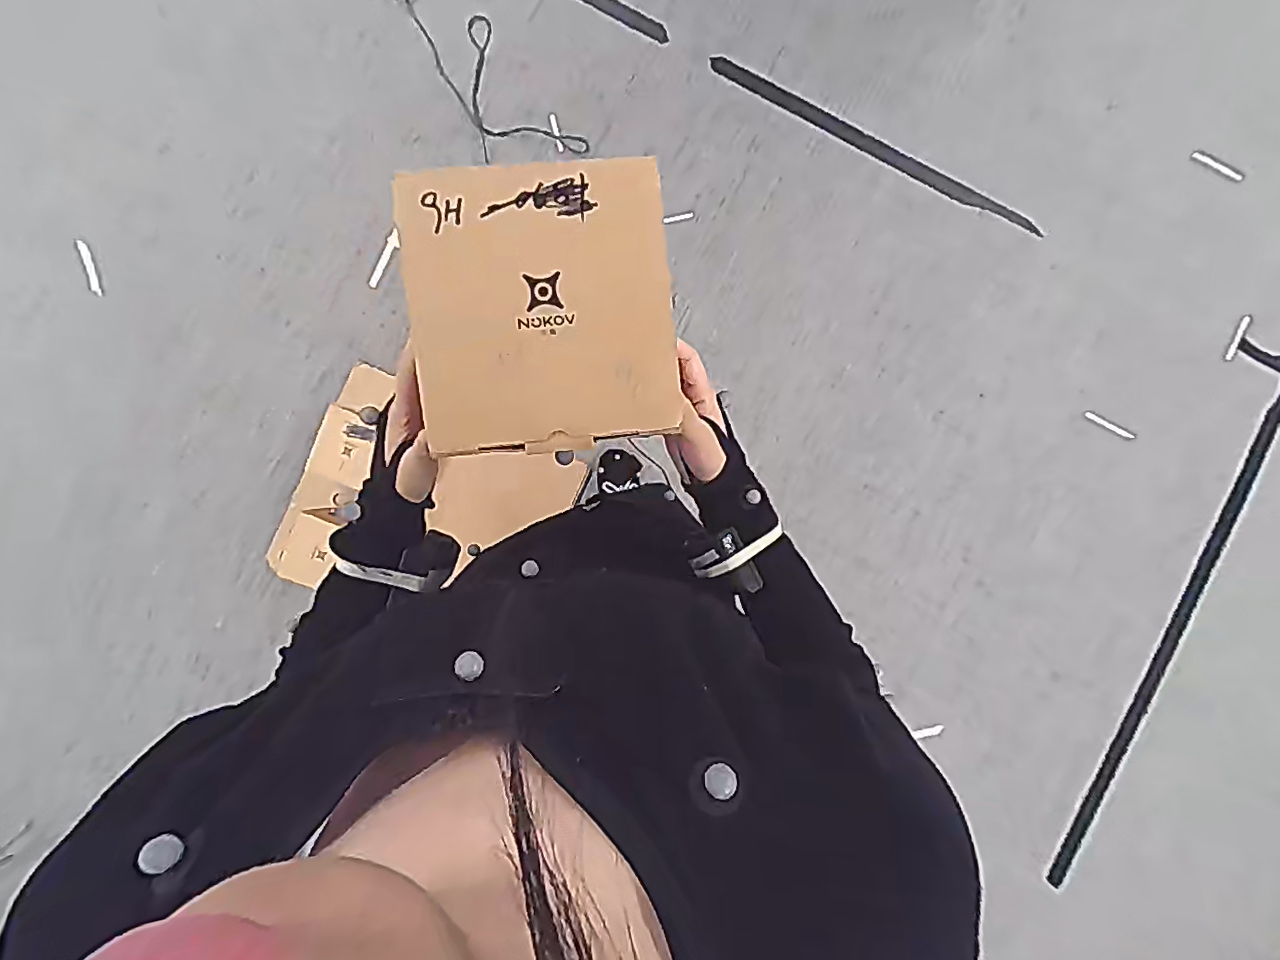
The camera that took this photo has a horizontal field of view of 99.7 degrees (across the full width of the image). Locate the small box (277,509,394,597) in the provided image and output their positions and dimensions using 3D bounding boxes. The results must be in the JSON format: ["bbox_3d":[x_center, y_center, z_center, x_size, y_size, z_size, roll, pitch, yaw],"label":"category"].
[{"bbox_3d":[-0.765,0.177,1.375,0.179,0.176,0.168,20,90,-2],"label":"small box"}]

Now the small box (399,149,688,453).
[{"bbox_3d":[-0.062,-0.118,0.412,0.168,0.176,0.179,-6,95,-6],"label":"small box"}]

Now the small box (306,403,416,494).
[{"bbox_3d":[-0.697,-0.075,1.376,0.168,0.176,0.179,21,89,-1],"label":"small box"}]
